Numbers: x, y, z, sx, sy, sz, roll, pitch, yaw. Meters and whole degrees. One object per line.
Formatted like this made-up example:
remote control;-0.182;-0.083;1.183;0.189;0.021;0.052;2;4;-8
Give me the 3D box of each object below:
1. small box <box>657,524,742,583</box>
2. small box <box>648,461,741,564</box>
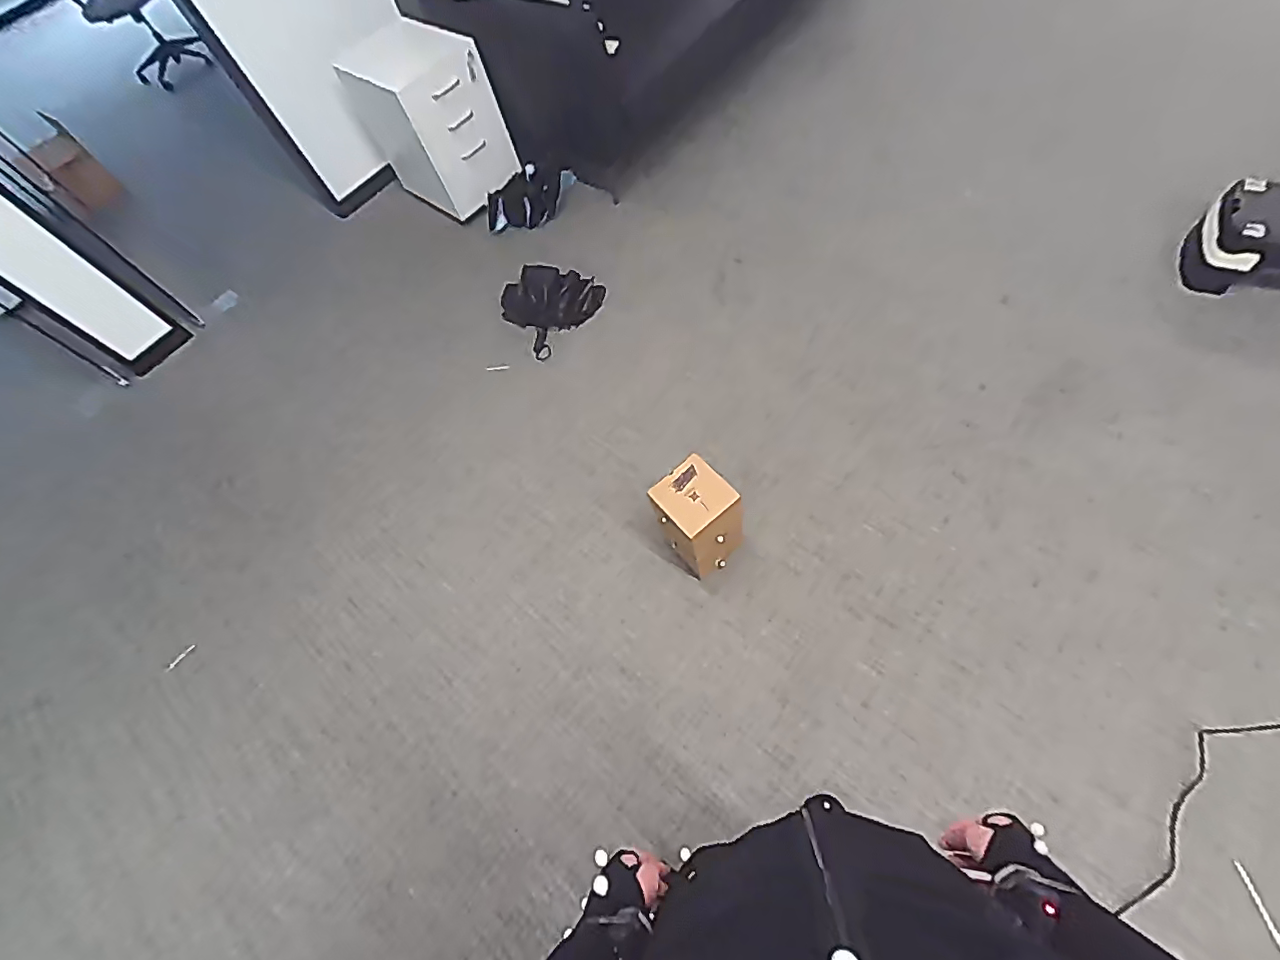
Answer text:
small box;0.174;0.168;1.557;0.168;0.176;0.179;-39;63;-10
small box;0.146;0.090;1.414;0.168;0.176;0.179;-38;62;-9
